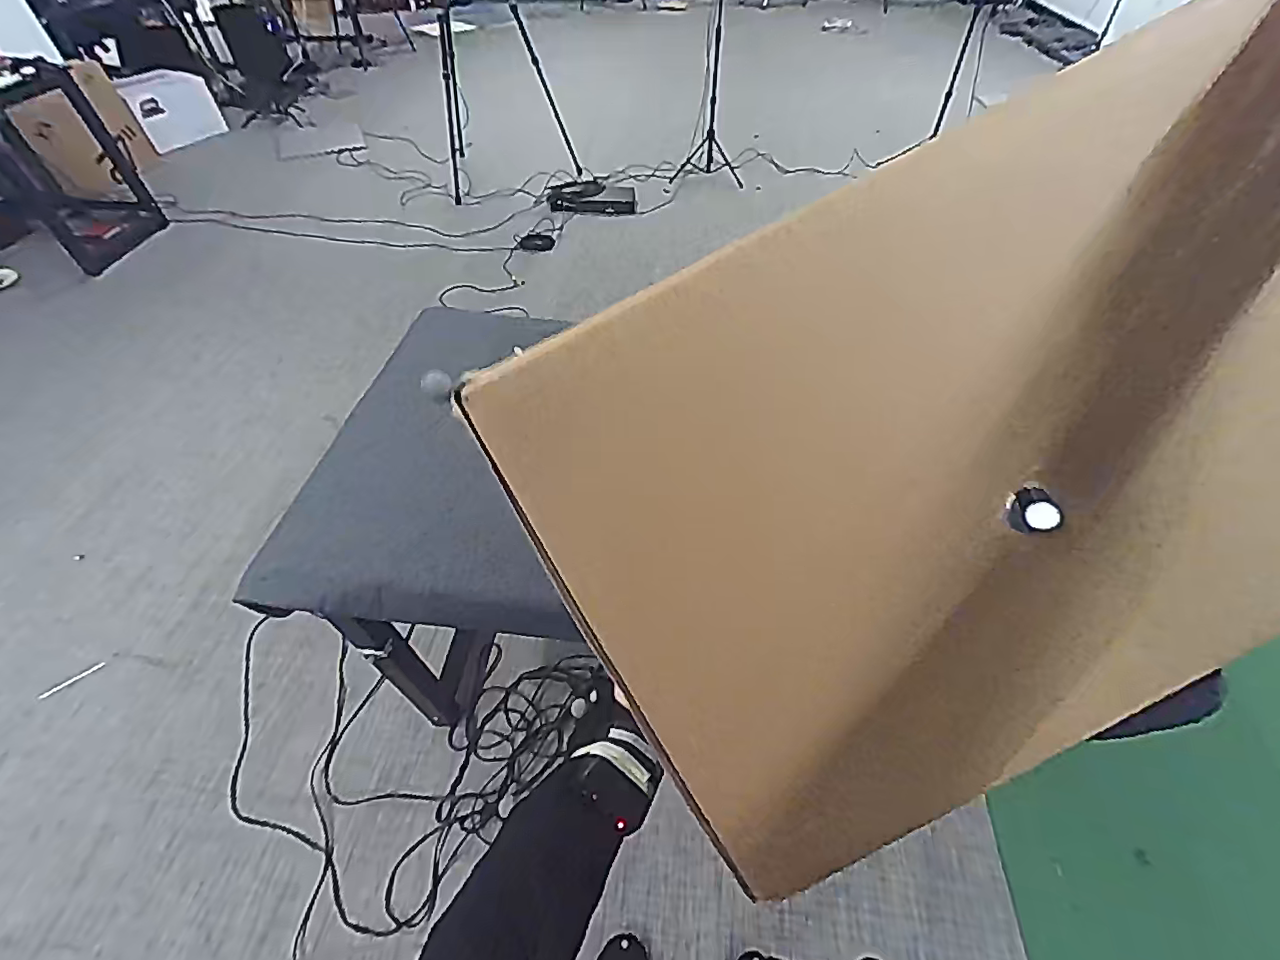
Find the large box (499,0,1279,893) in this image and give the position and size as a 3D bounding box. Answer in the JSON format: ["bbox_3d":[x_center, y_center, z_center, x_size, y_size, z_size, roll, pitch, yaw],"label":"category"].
[{"bbox_3d":[0.160,-0.020,0.410,0.408,0.320,0.320,-30,14,-2],"label":"large box"}]
